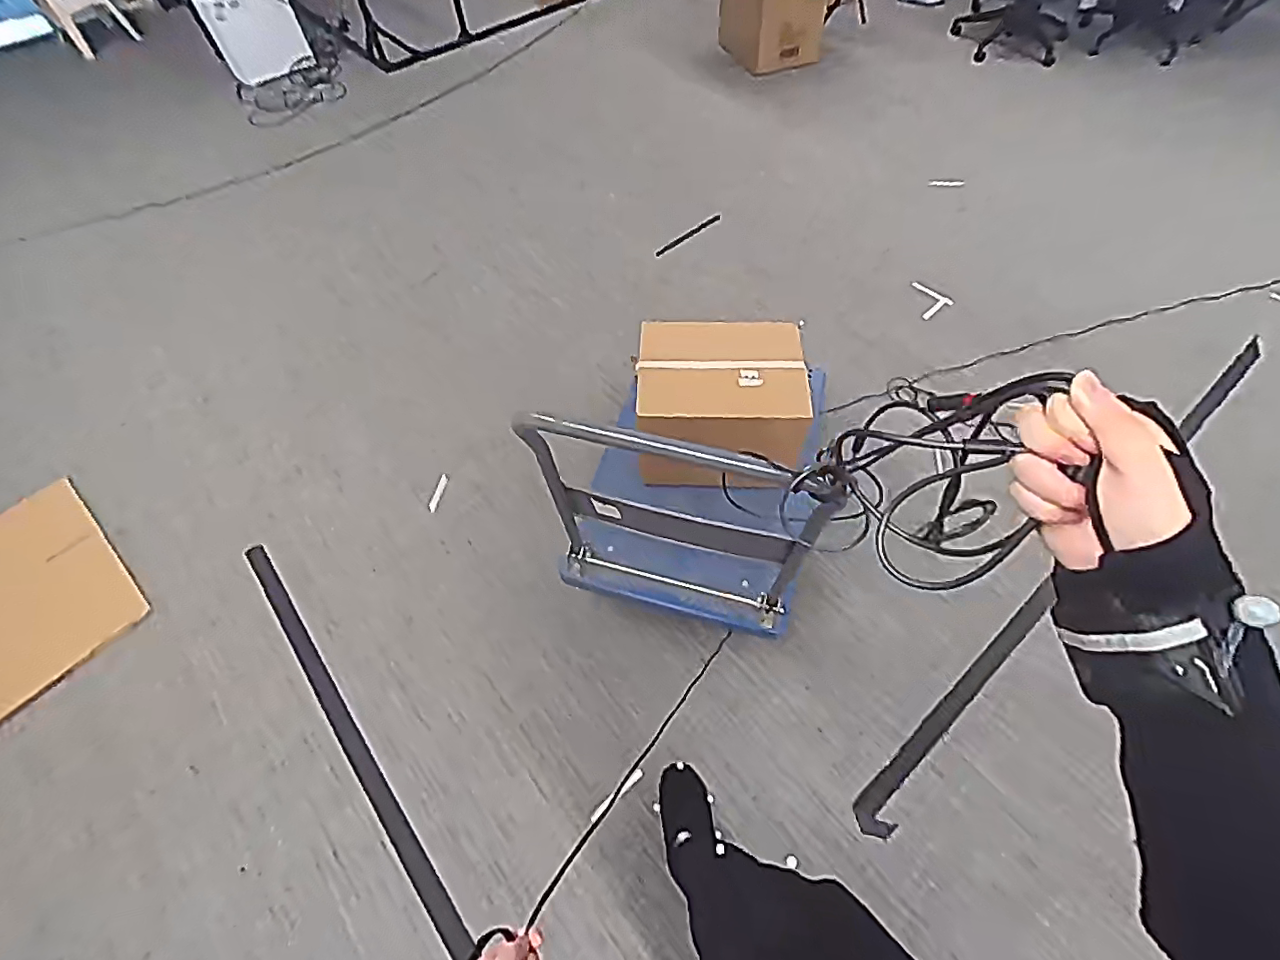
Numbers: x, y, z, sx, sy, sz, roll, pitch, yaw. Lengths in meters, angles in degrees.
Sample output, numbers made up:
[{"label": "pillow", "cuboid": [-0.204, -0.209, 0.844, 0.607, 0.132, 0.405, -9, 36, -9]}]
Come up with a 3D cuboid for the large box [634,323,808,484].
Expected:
[{"label": "large box", "cuboid": [0.190, -0.195, 1.434, 0.408, 0.320, 0.320, 1, 59, 2]}]
